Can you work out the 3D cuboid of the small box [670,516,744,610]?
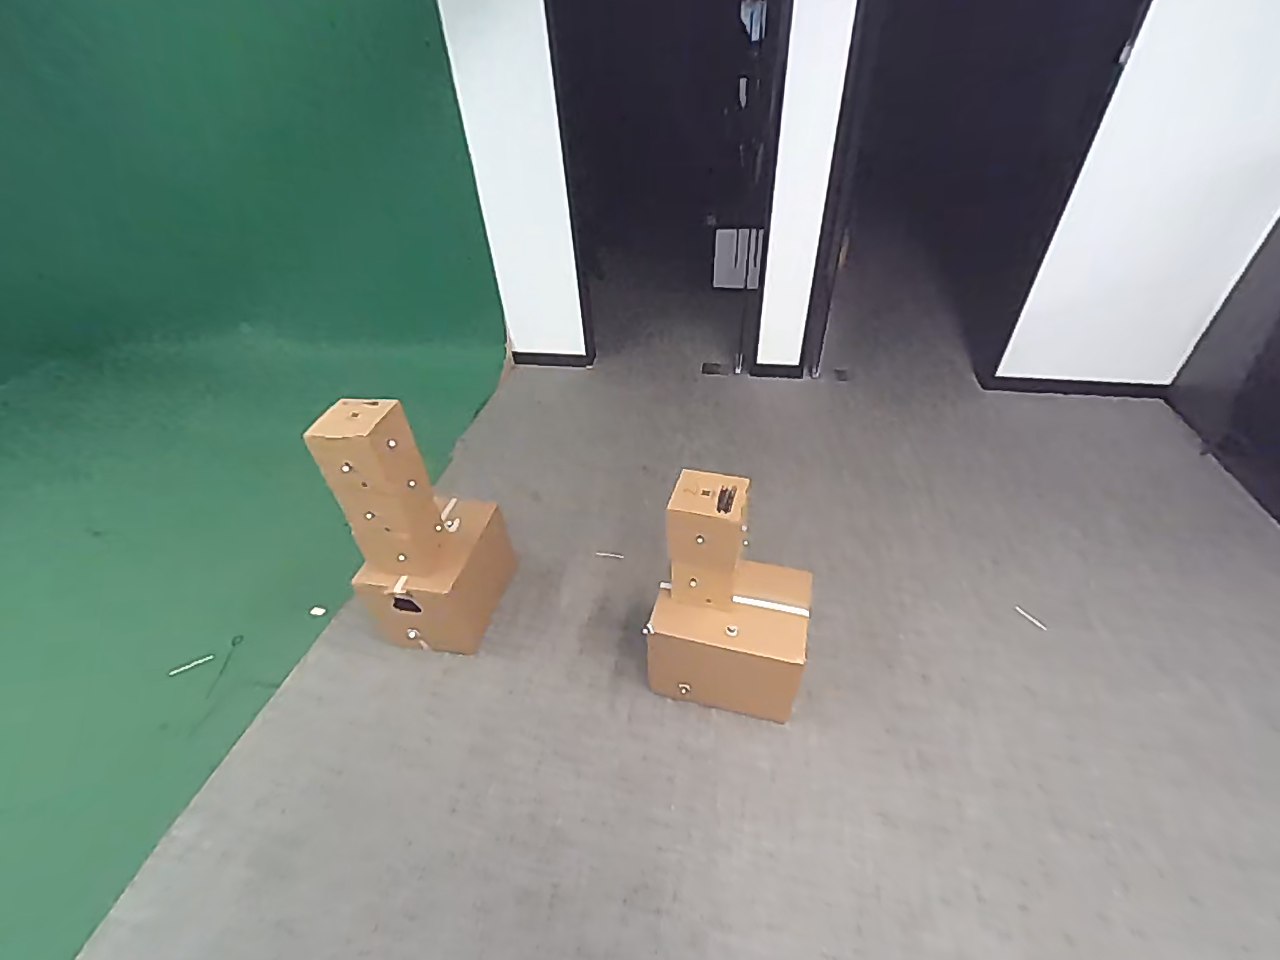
[{"bbox_3d":[0.183,0.228,1.470,0.168,0.176,0.179,9,39,14],"label":"small box"}]

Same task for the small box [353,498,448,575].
[{"bbox_3d":[-0.697,0.164,1.600,0.179,0.176,0.168,3,39,9],"label":"small box"}]

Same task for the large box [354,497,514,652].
[{"bbox_3d":[-0.658,0.309,1.805,0.320,0.320,0.408,5,39,9],"label":"large box"}]

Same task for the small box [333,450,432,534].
[{"bbox_3d":[-0.702,0.033,1.502,0.168,0.176,0.179,2,39,5],"label":"small box"}]

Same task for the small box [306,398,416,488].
[{"bbox_3d":[-0.707,-0.094,1.396,0.168,0.176,0.179,3,40,7],"label":"small box"}]
